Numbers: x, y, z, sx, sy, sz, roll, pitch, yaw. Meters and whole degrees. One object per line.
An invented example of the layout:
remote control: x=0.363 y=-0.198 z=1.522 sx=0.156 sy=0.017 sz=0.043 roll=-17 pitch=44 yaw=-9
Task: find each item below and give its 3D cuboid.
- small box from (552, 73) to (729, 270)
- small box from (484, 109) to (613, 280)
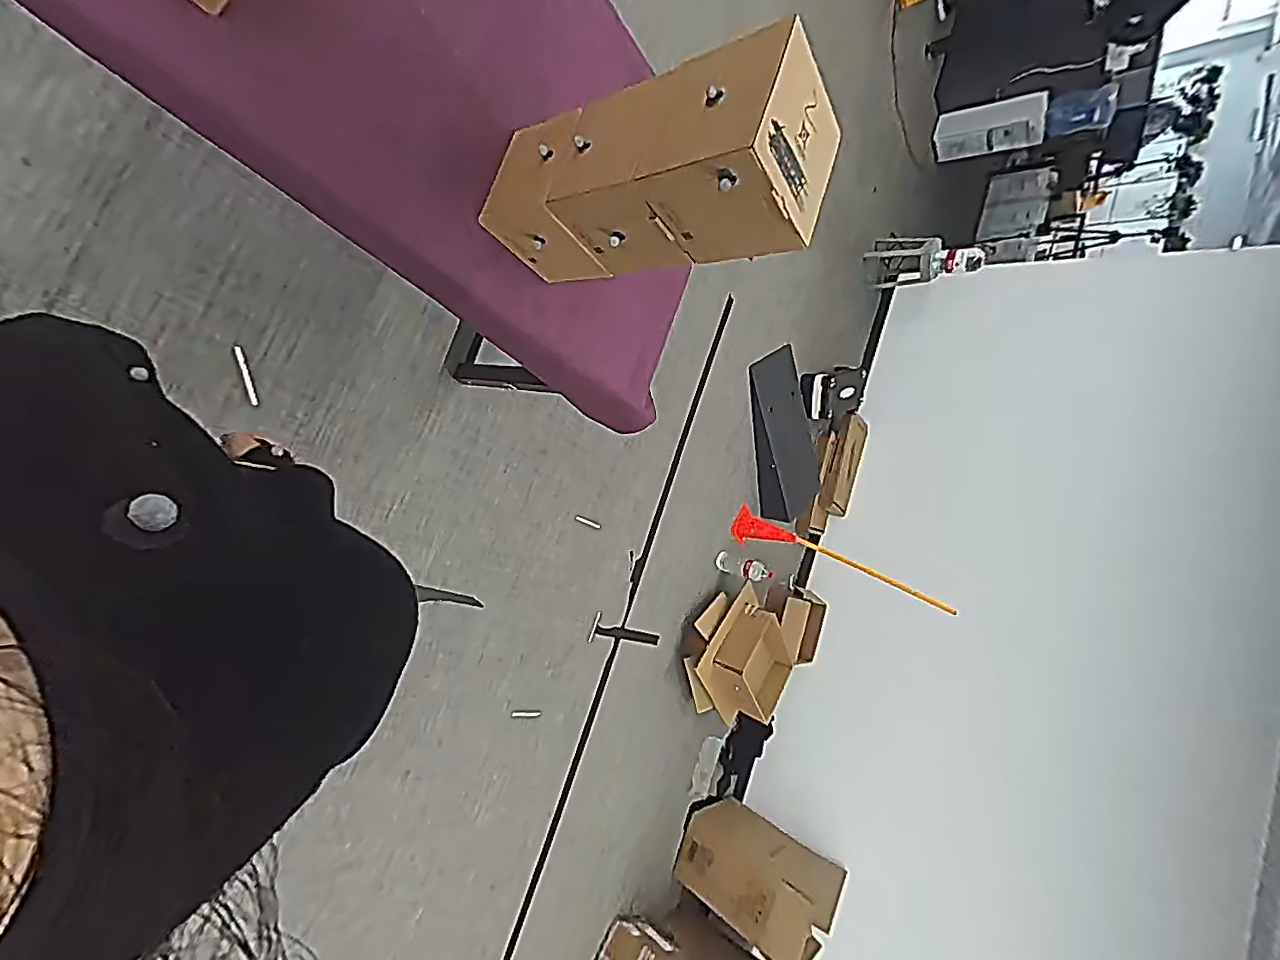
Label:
small box: x=-0.002 y=-0.429 z=0.787 sx=0.168 sy=0.176 sz=0.179 roll=31 pitch=76 yaw=-49
small box: x=-0.128 y=-0.451 z=0.889 sx=0.168 sy=0.176 sz=0.179 roll=30 pitch=76 yaw=-50
